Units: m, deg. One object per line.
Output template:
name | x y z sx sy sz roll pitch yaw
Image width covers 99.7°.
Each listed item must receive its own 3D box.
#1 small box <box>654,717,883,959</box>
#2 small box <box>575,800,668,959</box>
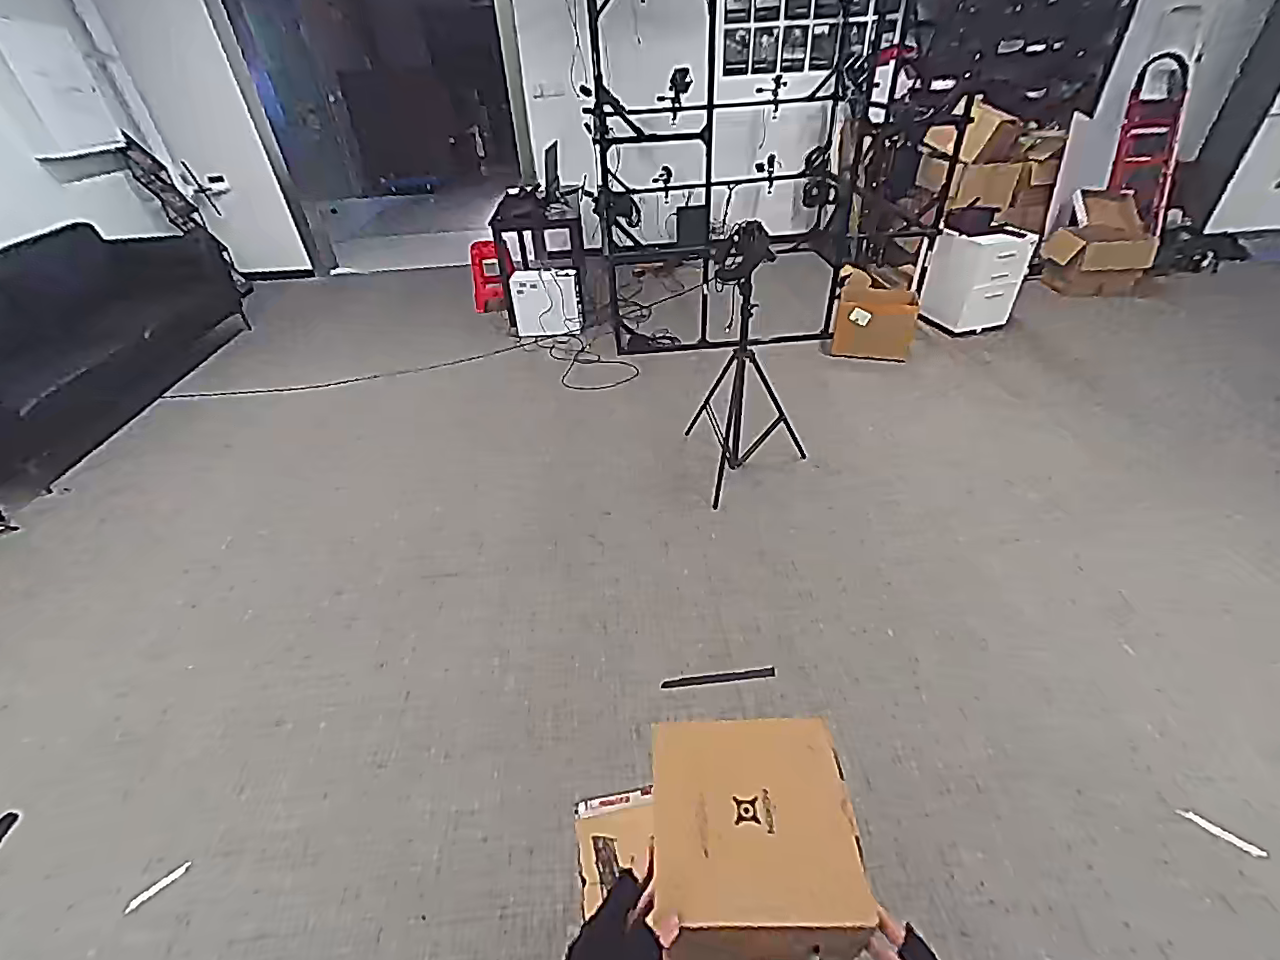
small box | 0.106 0.350 0.523 0.179 0.176 0.168 -4 39 4
small box | 0.007 0.610 0.808 0.179 0.176 0.168 -10 37 -6
